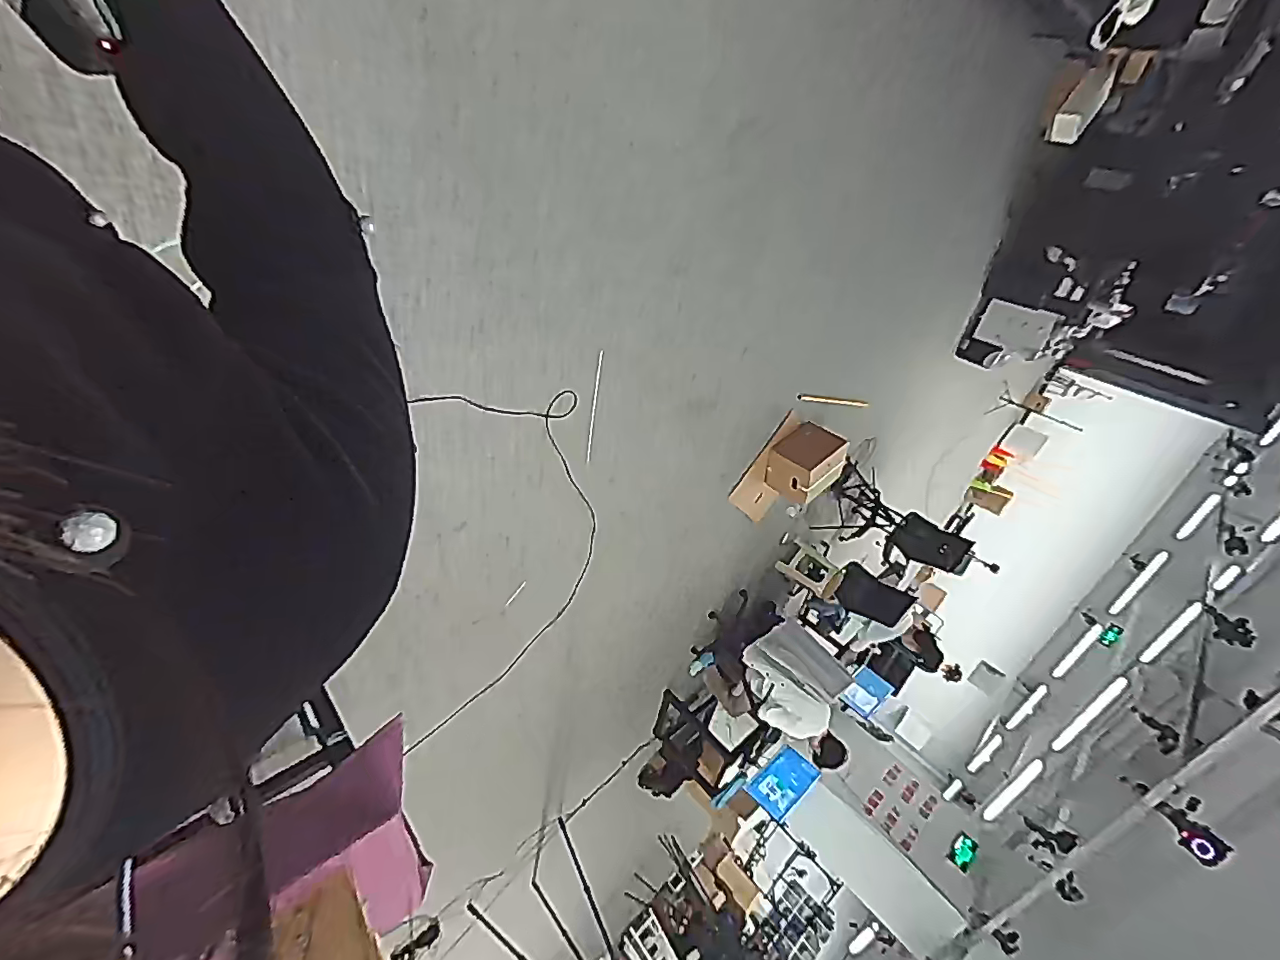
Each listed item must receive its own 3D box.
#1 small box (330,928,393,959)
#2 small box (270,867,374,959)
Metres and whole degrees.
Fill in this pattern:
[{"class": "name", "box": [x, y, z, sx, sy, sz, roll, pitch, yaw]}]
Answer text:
[{"class": "small box", "box": [-0.620, 1.135, 1.175, 0.179, 0.176, 0.168, -24, 137, -34]}, {"class": "small box", "box": [-0.732, 1.055, 1.261, 0.168, 0.176, 0.179, -23, 137, -36]}]
